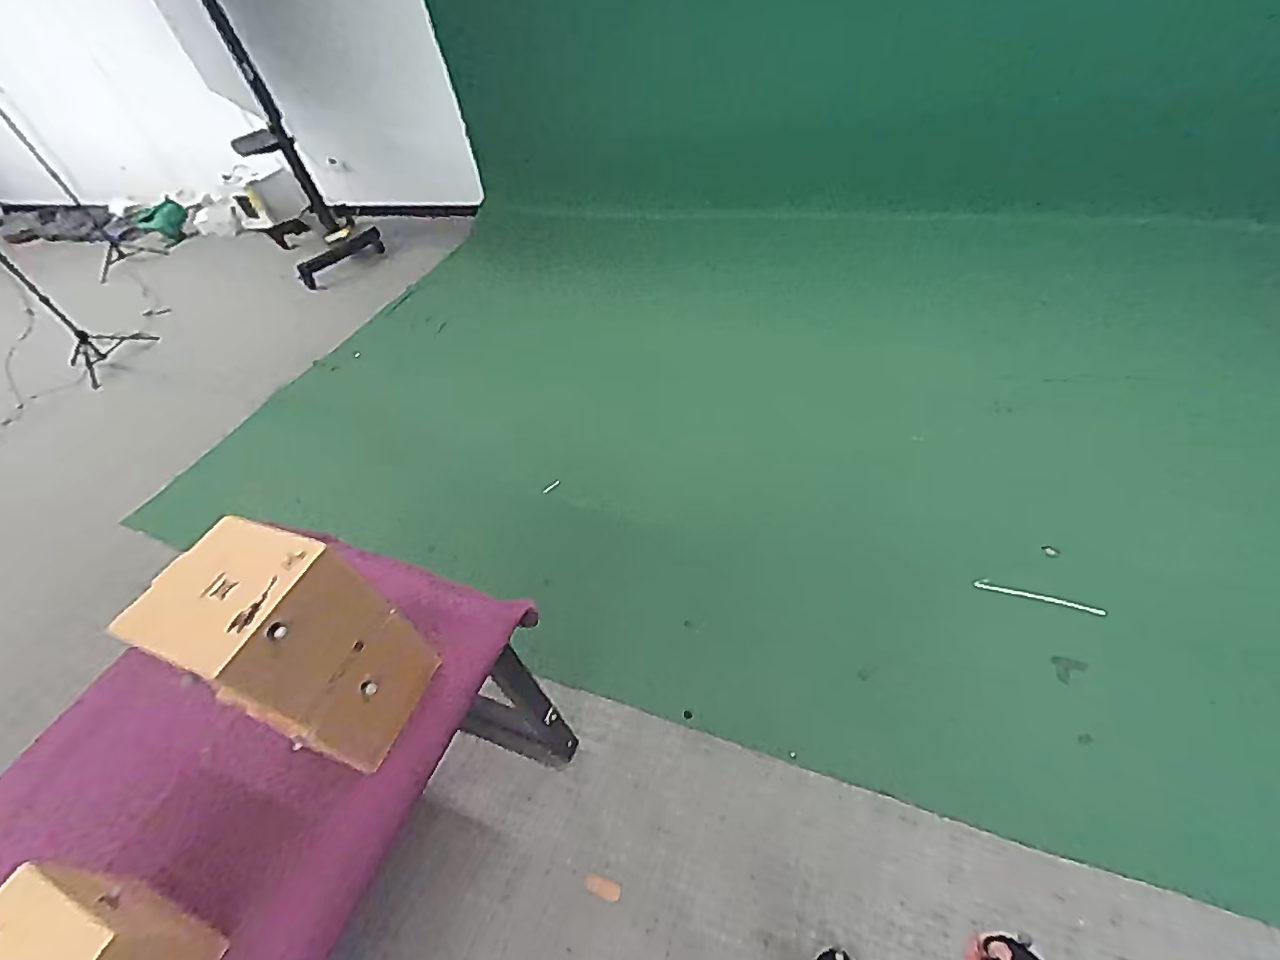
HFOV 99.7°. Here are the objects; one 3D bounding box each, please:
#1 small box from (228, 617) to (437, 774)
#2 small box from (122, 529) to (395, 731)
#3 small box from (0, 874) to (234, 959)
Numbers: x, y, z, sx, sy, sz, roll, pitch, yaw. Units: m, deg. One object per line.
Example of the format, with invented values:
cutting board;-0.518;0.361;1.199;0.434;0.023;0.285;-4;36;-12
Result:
small box;-0.426;0.297;0.790;0.168;0.176;0.179;10;52;19
small box;-0.453;0.187;0.671;0.179;0.176;0.168;10;53;20
small box;-0.603;0.564;0.583;0.179;0.176;0.168;10;50;22
